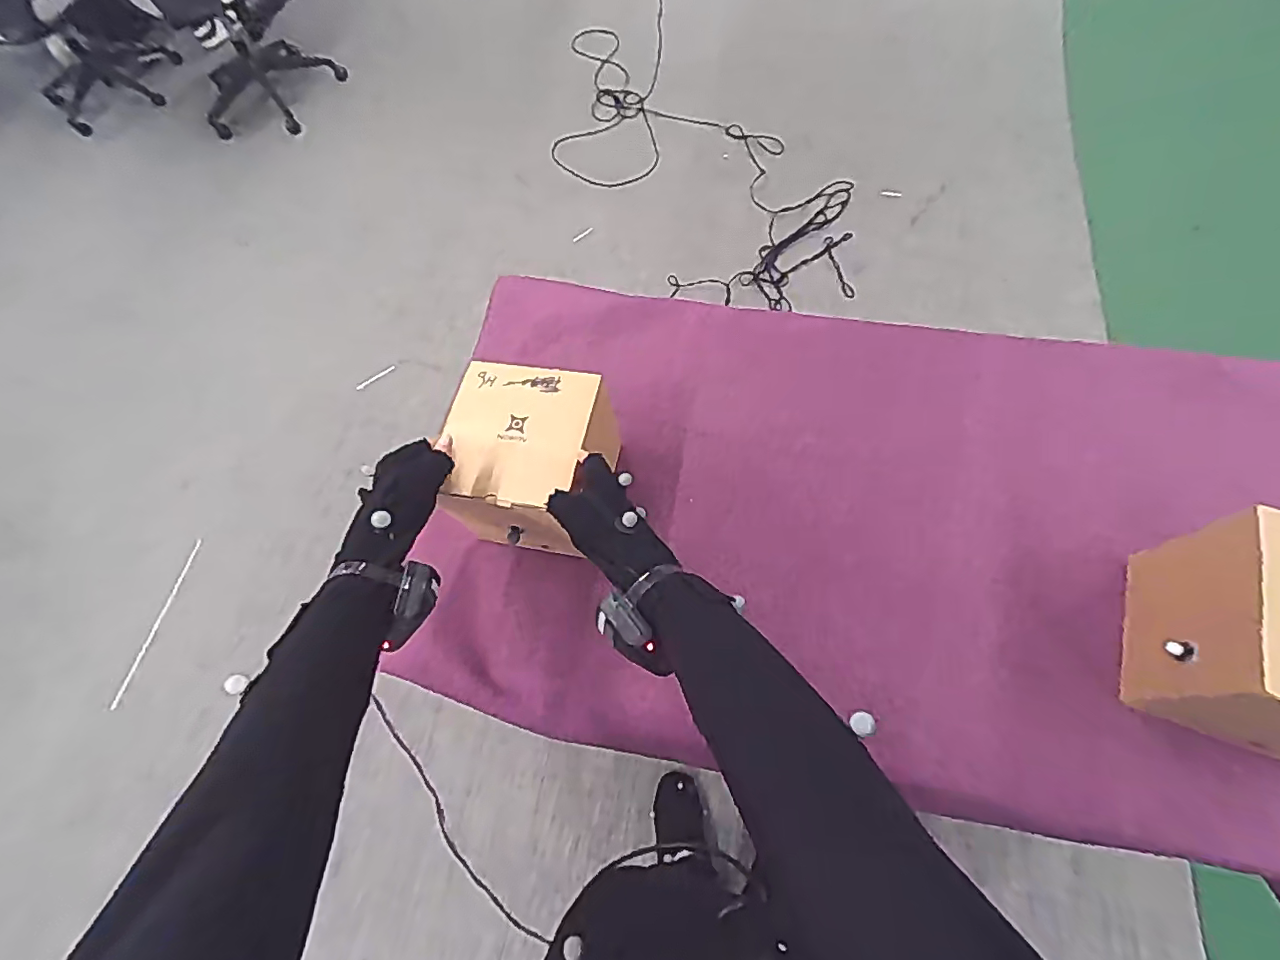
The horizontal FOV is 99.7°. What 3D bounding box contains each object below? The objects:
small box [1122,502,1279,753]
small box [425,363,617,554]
[{"bbox_3d":[0.607,0.151,0.513,0.168,0.176,0.179,18,68,14],"label":"small box"},{"bbox_3d":[-0.131,-0.019,0.676,0.168,0.176,0.179,8,67,10],"label":"small box"}]
